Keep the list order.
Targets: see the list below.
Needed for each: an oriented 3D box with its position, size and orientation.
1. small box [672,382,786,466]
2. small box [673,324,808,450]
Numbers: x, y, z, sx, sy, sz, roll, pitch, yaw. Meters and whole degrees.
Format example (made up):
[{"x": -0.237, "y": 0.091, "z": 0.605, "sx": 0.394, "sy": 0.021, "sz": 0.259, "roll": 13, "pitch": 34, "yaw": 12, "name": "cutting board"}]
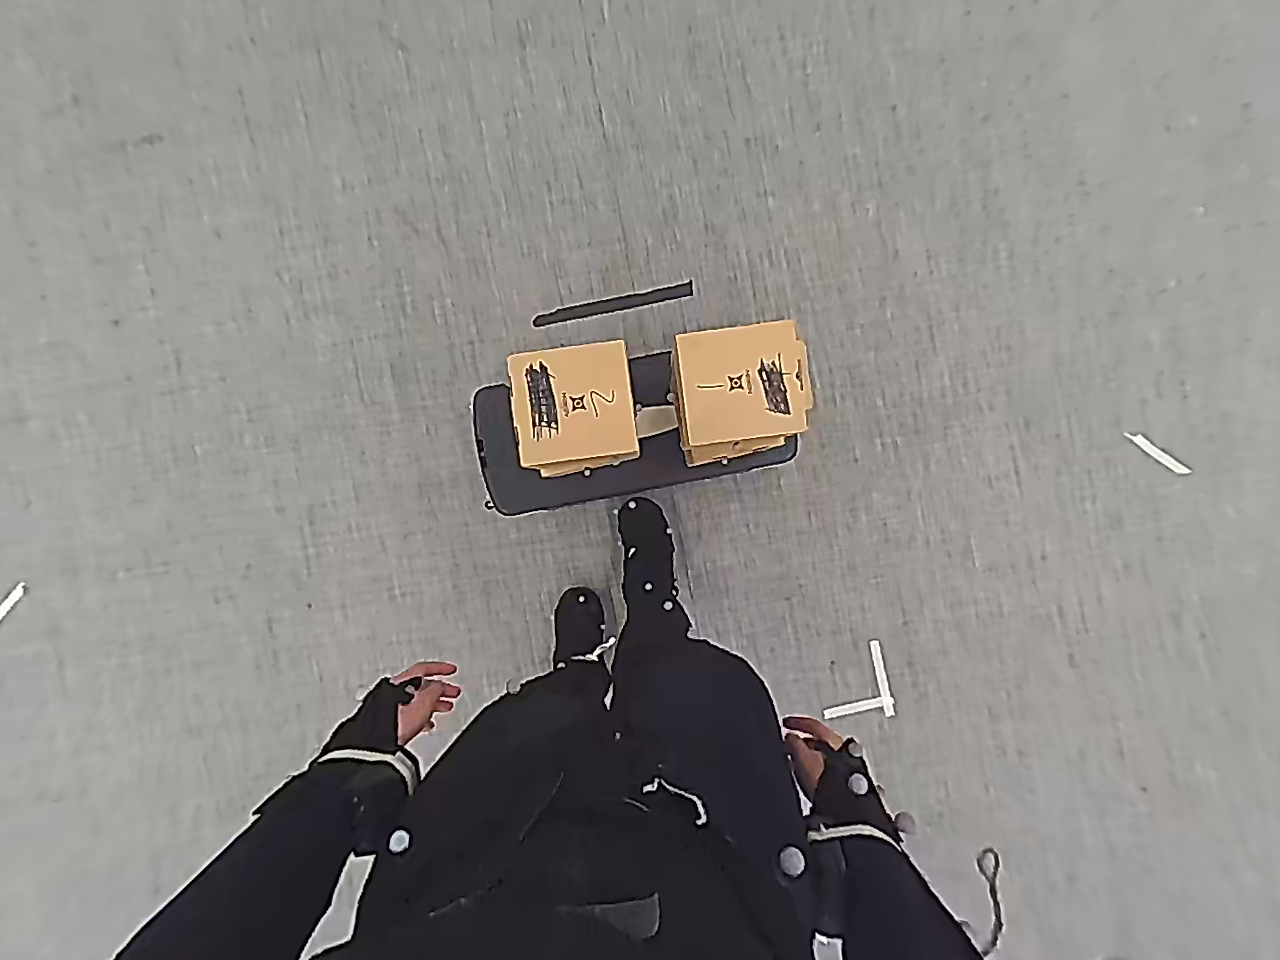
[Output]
[{"x": 0.159, "y": -0.128, "z": 1.028, "sx": 0.168, "sy": 0.176, "sz": 0.179, "roll": -13, "pitch": 91, "yaw": 1, "name": "small box"}, {"x": 0.151, "y": -0.139, "z": 0.863, "sx": 0.179, "sy": 0.176, "sz": 0.168, "roll": -7, "pitch": 91, "yaw": 1, "name": "small box"}]
